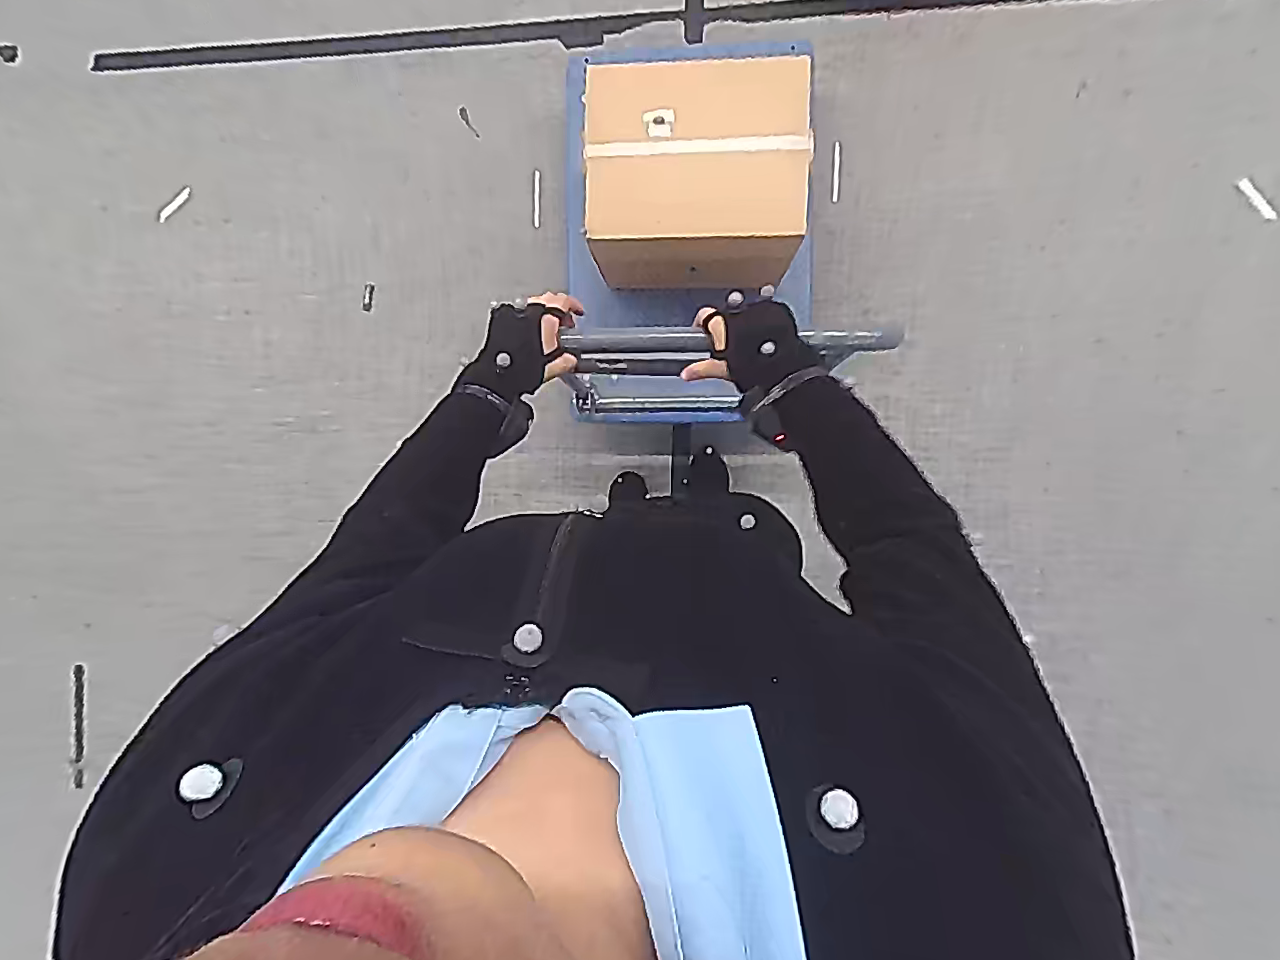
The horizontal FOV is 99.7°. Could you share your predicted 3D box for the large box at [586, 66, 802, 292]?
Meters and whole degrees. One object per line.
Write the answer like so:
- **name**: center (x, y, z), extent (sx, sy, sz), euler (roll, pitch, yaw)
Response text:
- **large box**: center (0.113, -0.600, 1.146), extent (0.408, 0.320, 0.320), euler (1, 91, 6)
